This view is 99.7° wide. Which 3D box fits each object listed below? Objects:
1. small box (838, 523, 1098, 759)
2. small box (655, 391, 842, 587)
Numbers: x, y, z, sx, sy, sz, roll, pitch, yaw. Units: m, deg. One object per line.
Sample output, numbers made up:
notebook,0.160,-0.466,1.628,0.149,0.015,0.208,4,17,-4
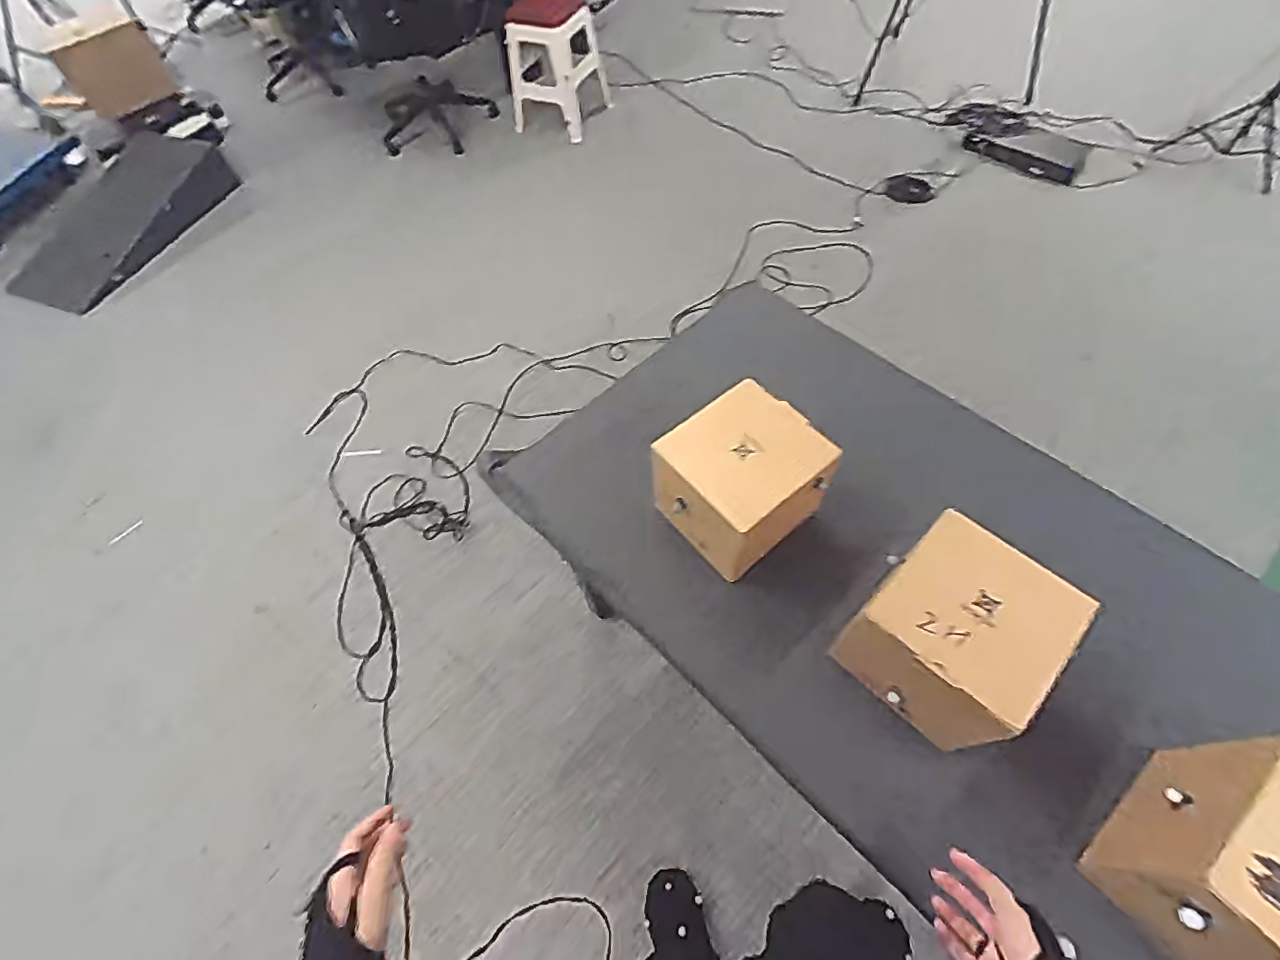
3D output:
small box,0.358,0.189,0.625,0.179,0.176,0.168,-40,64,-20
small box,0.141,0.018,0.746,0.179,0.176,0.168,-35,63,-18
